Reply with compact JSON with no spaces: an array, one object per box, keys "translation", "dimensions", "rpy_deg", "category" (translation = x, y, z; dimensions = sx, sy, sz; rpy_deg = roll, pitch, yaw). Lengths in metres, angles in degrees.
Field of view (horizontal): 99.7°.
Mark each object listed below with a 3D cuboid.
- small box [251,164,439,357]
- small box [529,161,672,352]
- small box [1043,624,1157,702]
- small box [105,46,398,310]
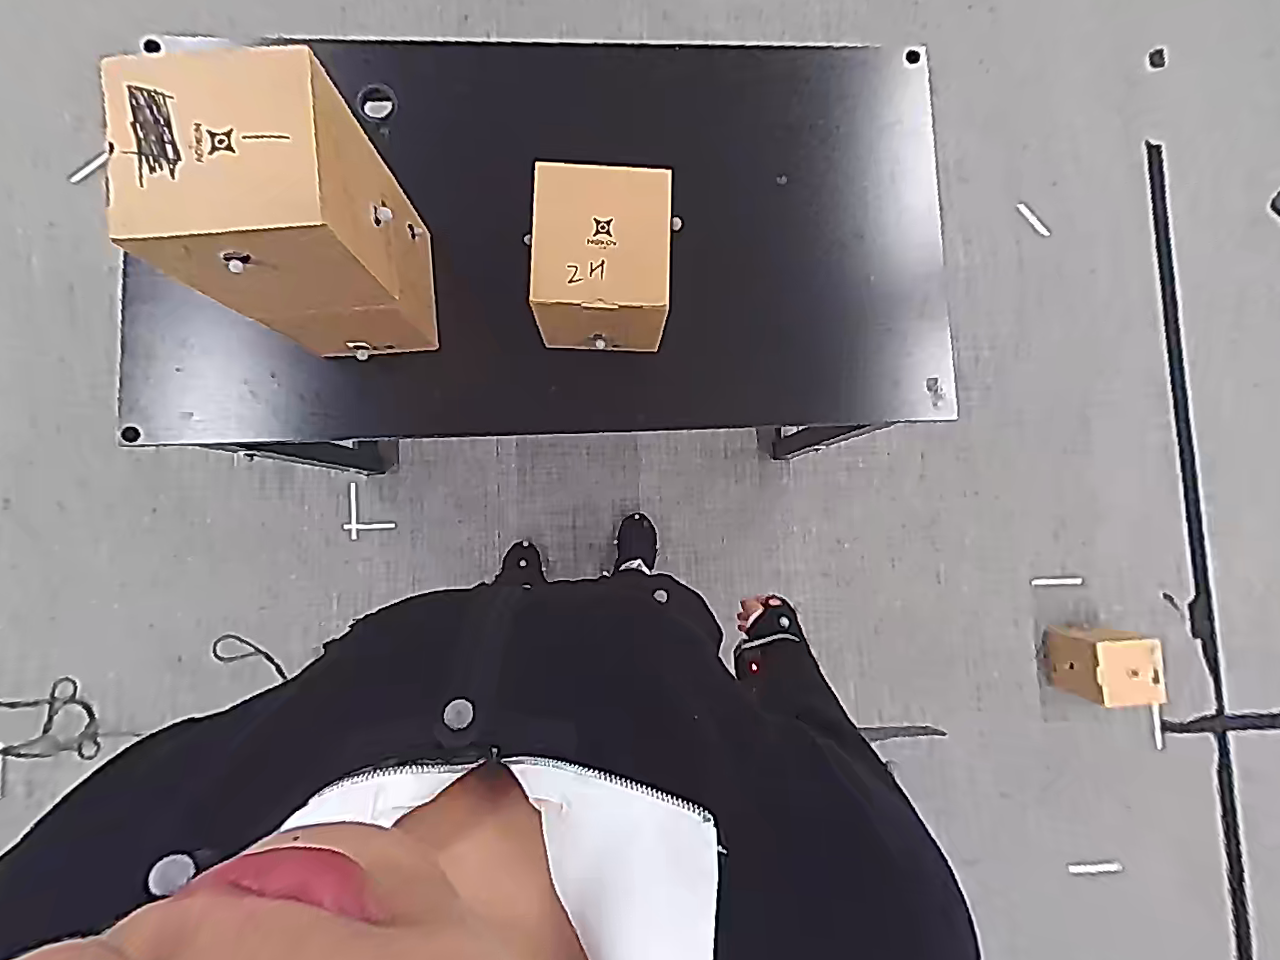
[{"translation":[-0.374,-0.274,0.704],"dimensions":[0.168,0.176,0.179],"rpy_deg":[-6,87,-3],"category":"small box"},{"translation":[-0.051,-0.286,0.723],"dimensions":[0.168,0.176,0.179],"rpy_deg":[2,86,-3],"category":"small box"},{"translation":[1.248,0.497,1.484],"dimensions":[0.179,0.176,0.168],"rpy_deg":[-2,86,-3],"category":"small box"},{"translation":[-0.366,-0.281,0.539],"dimensions":[0.179,0.176,0.168],"rpy_deg":[-6,86,-4],"category":"small box"}]
